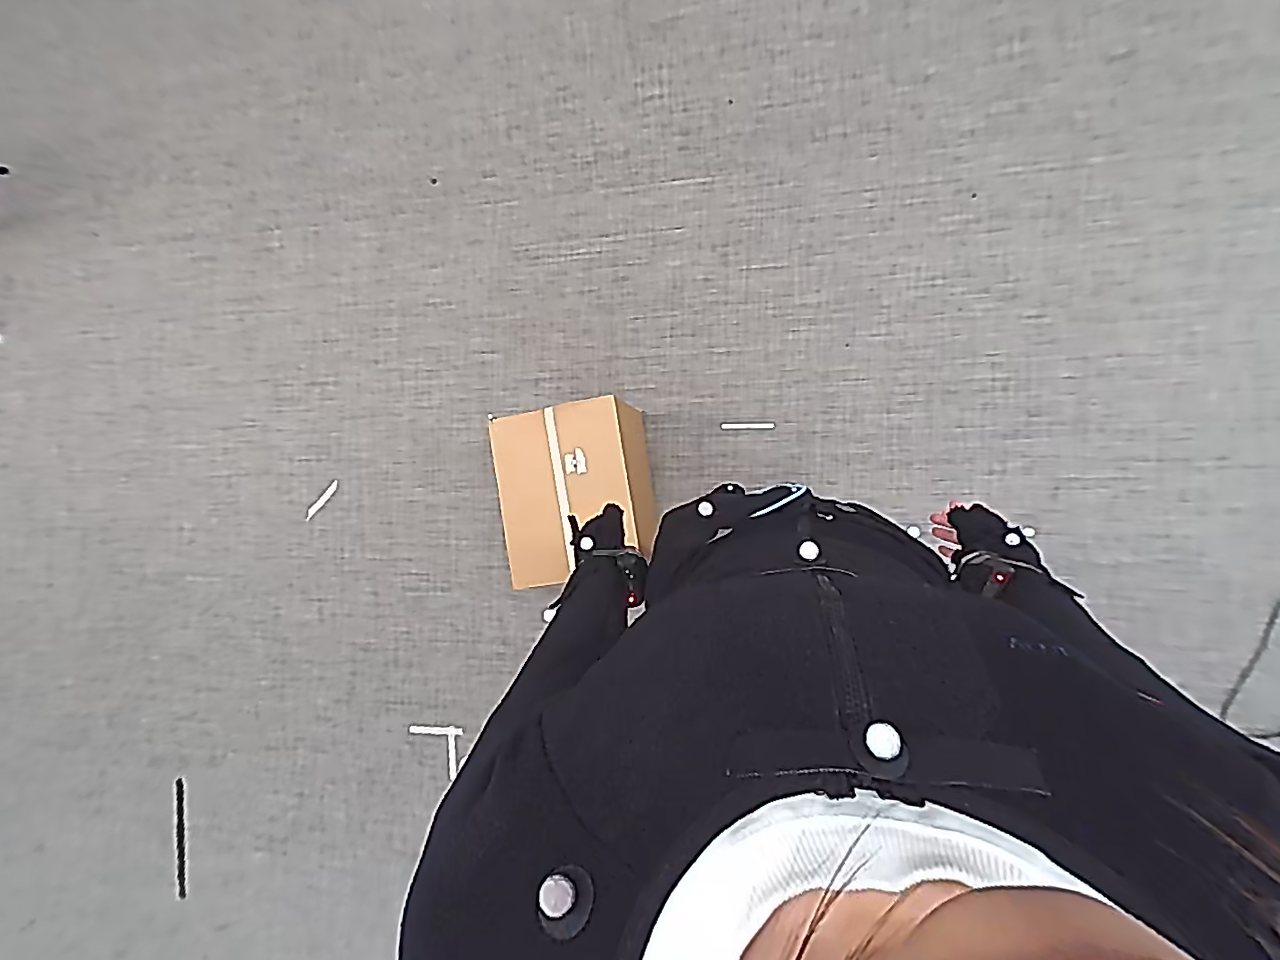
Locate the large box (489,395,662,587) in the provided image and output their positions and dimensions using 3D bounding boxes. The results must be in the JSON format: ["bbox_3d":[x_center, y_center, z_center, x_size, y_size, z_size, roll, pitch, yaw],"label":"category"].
[{"bbox_3d":[-0.146,0.033,1.385,0.320,0.320,0.408,-10,86,10],"label":"large box"}]
